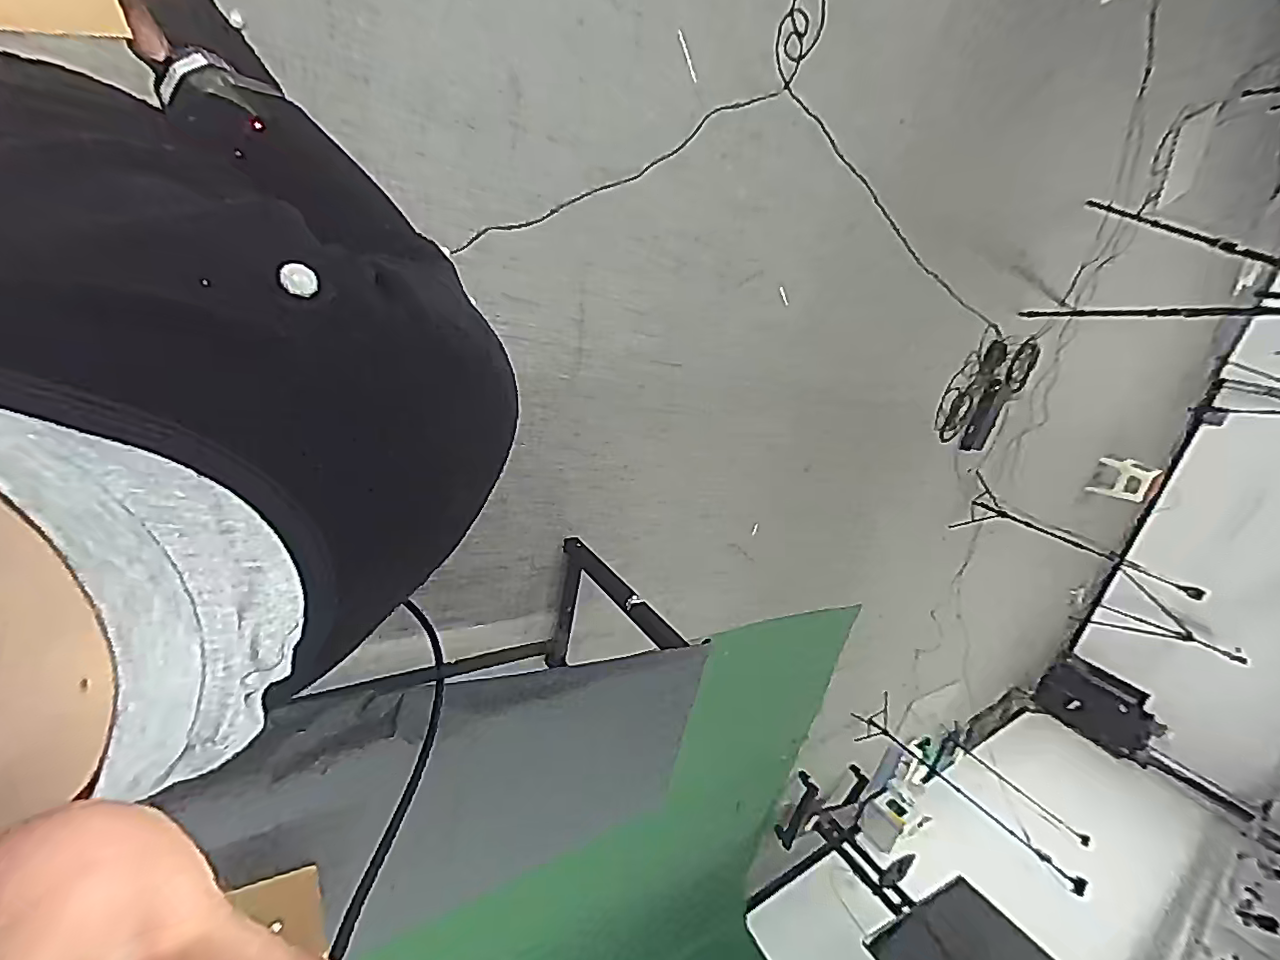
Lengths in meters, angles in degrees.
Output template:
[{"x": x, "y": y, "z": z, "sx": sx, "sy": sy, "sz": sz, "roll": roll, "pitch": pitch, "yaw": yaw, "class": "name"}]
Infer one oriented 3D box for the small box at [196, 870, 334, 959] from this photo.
[{"x": -0.654, "y": 0.832, "z": 0.938, "sx": 0.179, "sy": 0.176, "sz": 0.168, "roll": 5, "pitch": 108, "yaw": -40, "class": "small box"}]
